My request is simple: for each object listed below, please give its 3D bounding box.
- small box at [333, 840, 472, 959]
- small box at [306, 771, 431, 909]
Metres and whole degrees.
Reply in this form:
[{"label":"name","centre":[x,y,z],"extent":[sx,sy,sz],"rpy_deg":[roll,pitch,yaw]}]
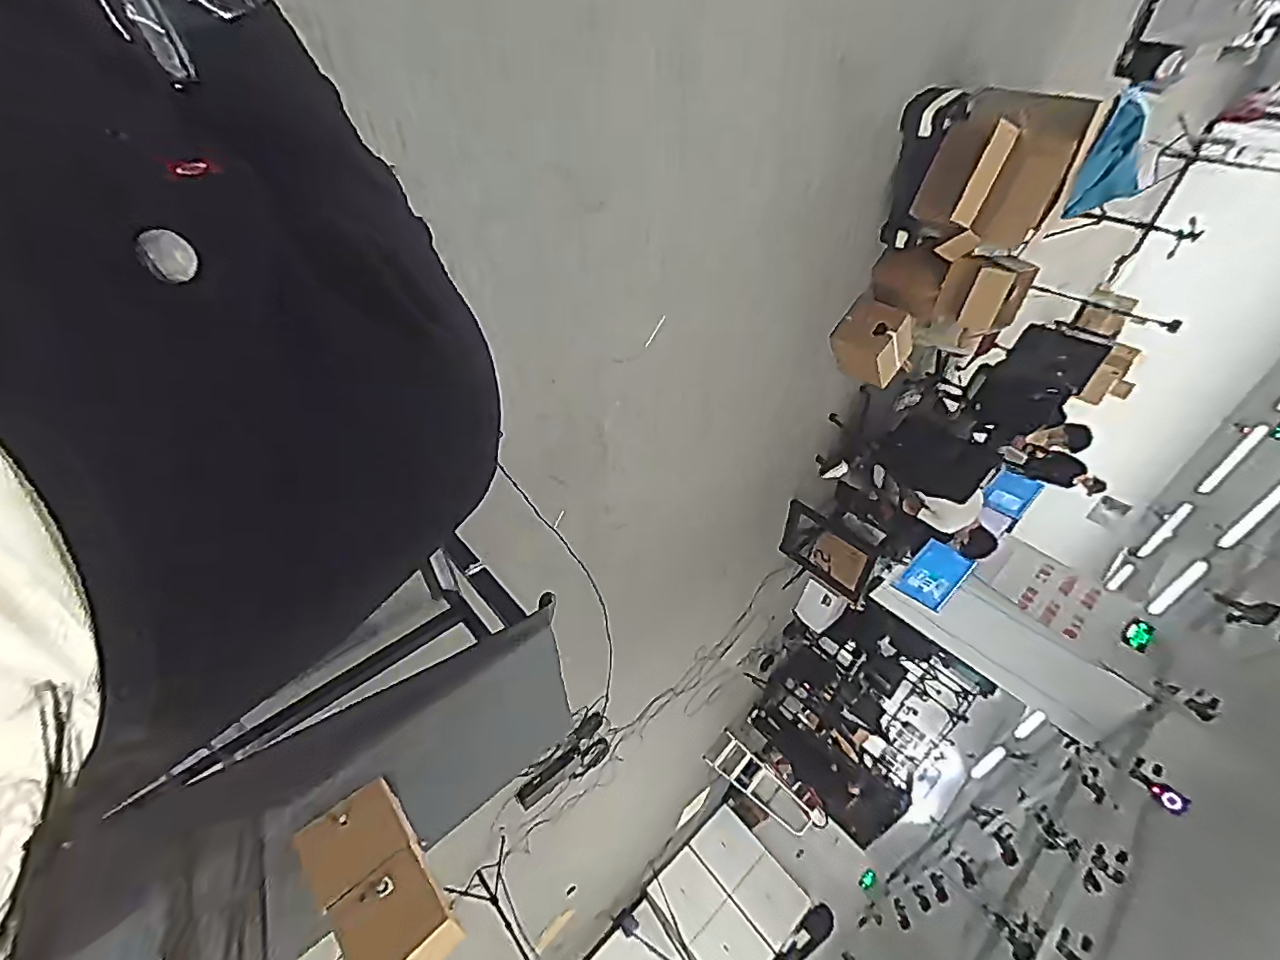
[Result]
[{"label":"small box","centre":[-0.457,0.845,1.049],"extent":[0.168,0.176,0.179],"rpy_deg":[-34,142,-31]},{"label":"small box","centre":[-0.569,0.762,1.133],"extent":[0.179,0.176,0.168],"rpy_deg":[-30,141,-31]}]
